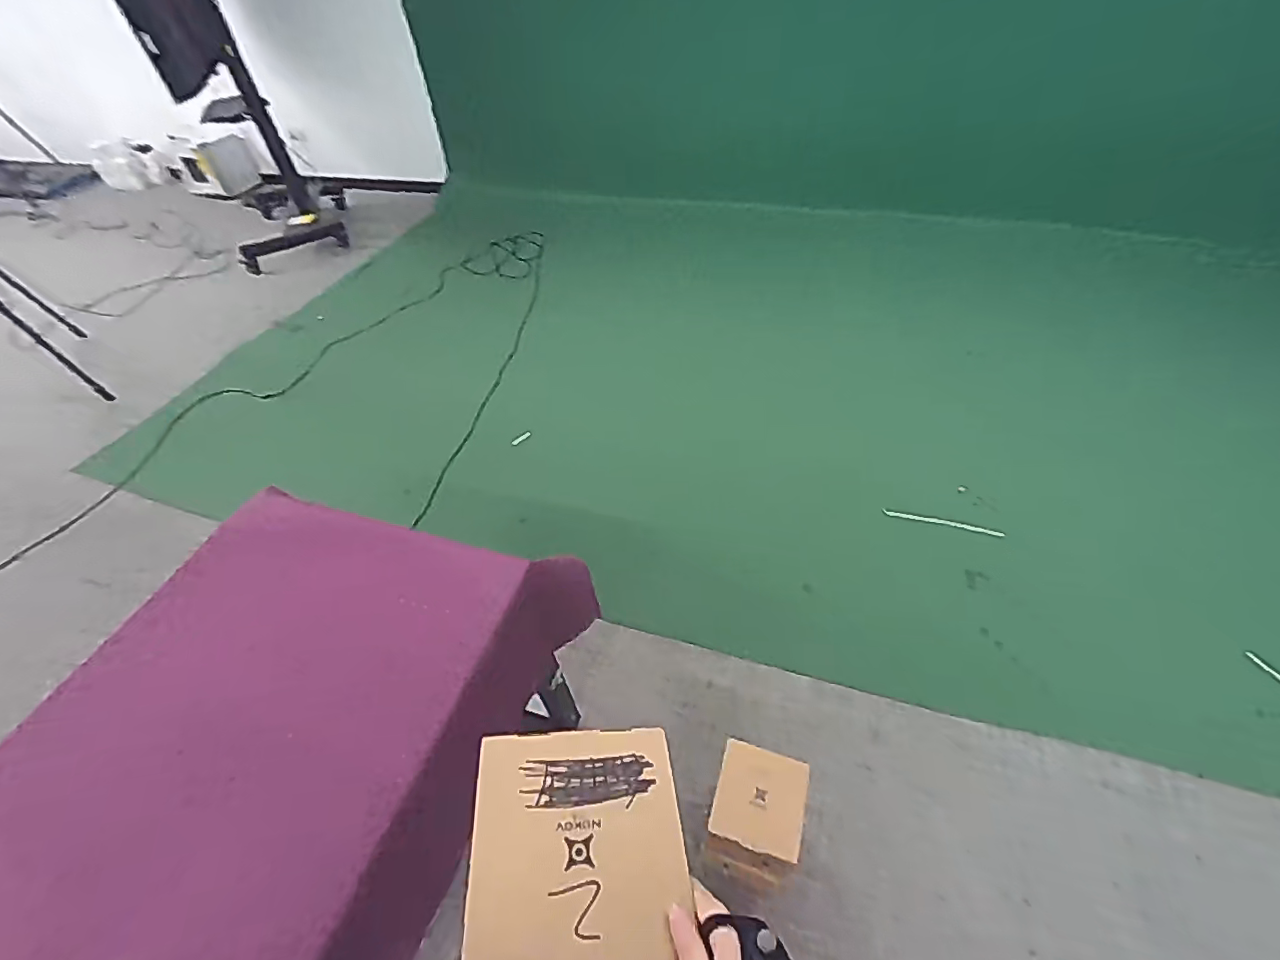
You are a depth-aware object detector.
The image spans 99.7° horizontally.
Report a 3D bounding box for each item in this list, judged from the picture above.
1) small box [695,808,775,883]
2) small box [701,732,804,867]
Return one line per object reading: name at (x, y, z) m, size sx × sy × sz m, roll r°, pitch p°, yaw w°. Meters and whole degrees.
small box at (0.227, 0.762, 1.204) m, size 0.168 × 0.176 × 0.179 m, roll 15°, pitch 50°, yaw 17°
small box at (0.223, 0.647, 1.089) m, size 0.168 × 0.176 × 0.179 m, roll 13°, pitch 49°, yaw 14°
